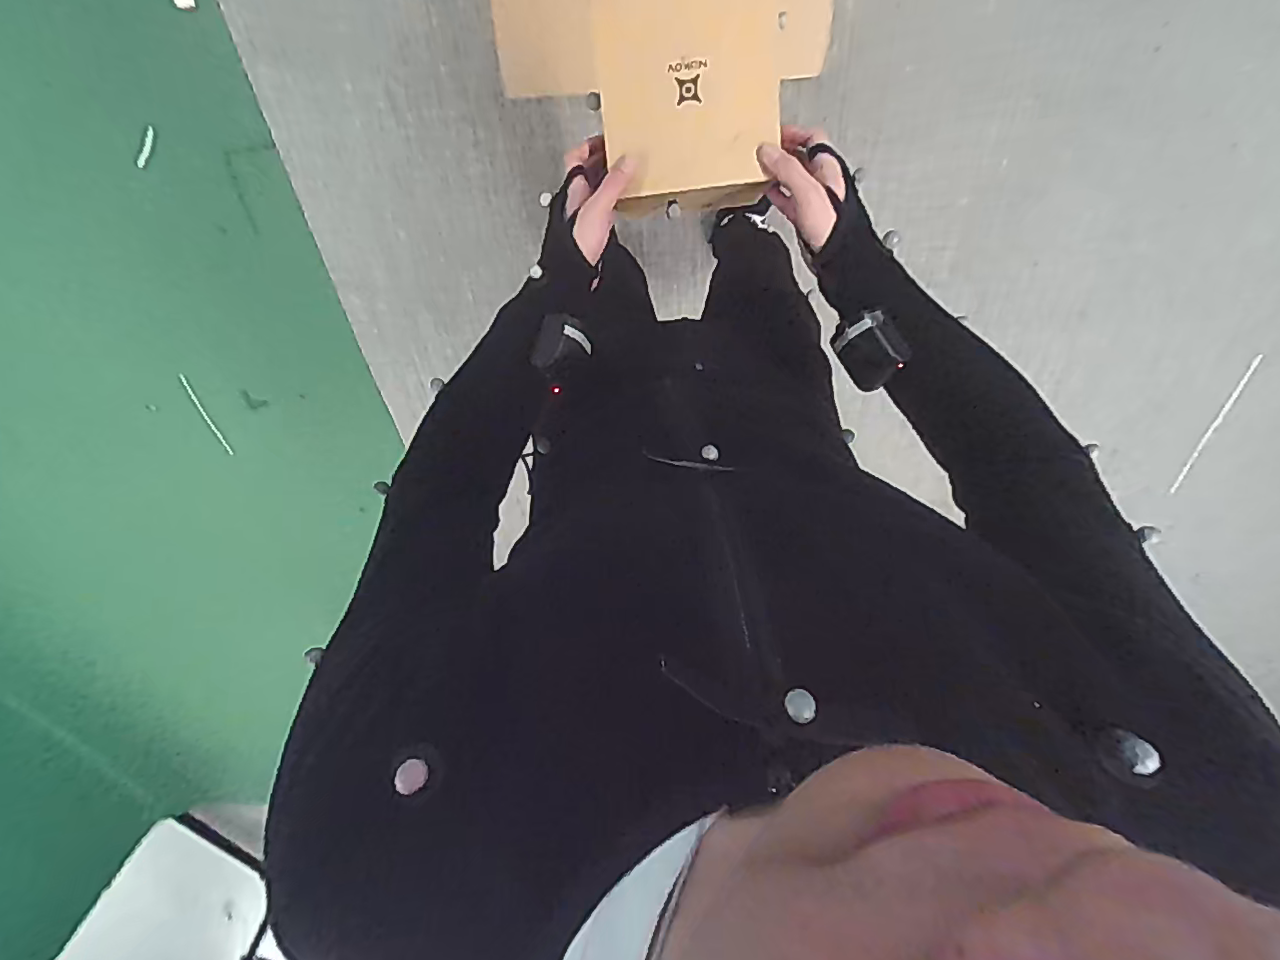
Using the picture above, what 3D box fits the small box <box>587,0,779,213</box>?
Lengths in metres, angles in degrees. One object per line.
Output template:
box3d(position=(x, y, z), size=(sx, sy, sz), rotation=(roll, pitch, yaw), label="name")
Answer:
box3d(position=(0.049, -0.388, 0.562), size=(0.168, 0.176, 0.179), rotation=(-5, 107, 7), label="small box")
